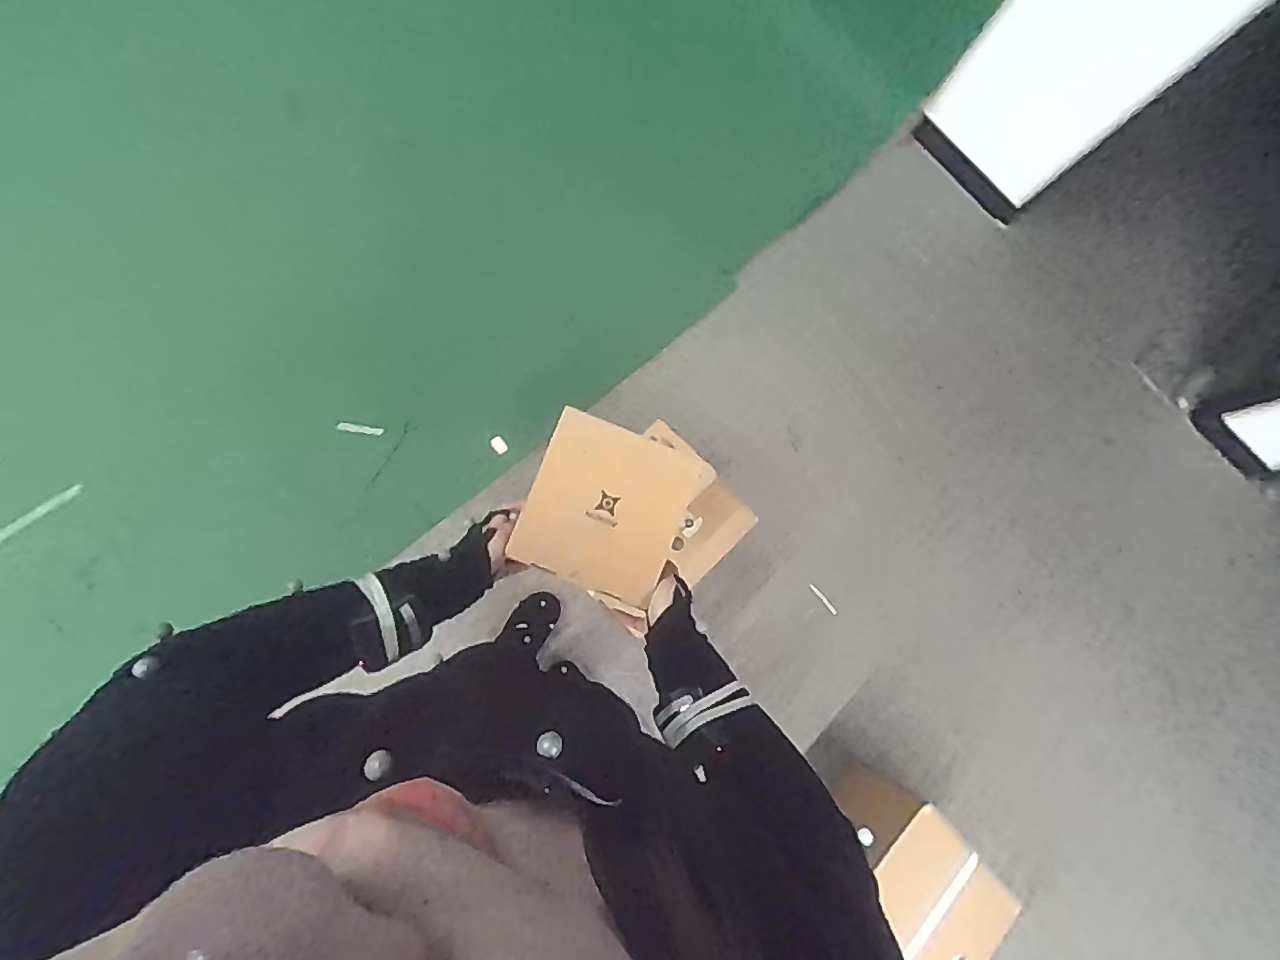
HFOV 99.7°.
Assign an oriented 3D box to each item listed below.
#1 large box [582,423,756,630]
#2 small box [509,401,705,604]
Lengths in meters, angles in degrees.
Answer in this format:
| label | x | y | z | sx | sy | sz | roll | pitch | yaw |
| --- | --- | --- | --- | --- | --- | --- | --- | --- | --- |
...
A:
| label | x | y | z | sx | sy | sz | roll | pitch | yaw |
| --- | --- | --- | --- | --- | --- | --- | --- | --- | --- |
| large box | 0.018 | 0.130 | 1.401 | 0.408 | 0.320 | 0.320 | -41 | 87 | -13 |
| small box | -0.041 | 0.026 | 0.660 | 0.168 | 0.176 | 0.179 | 22 | 87 | -3 |
